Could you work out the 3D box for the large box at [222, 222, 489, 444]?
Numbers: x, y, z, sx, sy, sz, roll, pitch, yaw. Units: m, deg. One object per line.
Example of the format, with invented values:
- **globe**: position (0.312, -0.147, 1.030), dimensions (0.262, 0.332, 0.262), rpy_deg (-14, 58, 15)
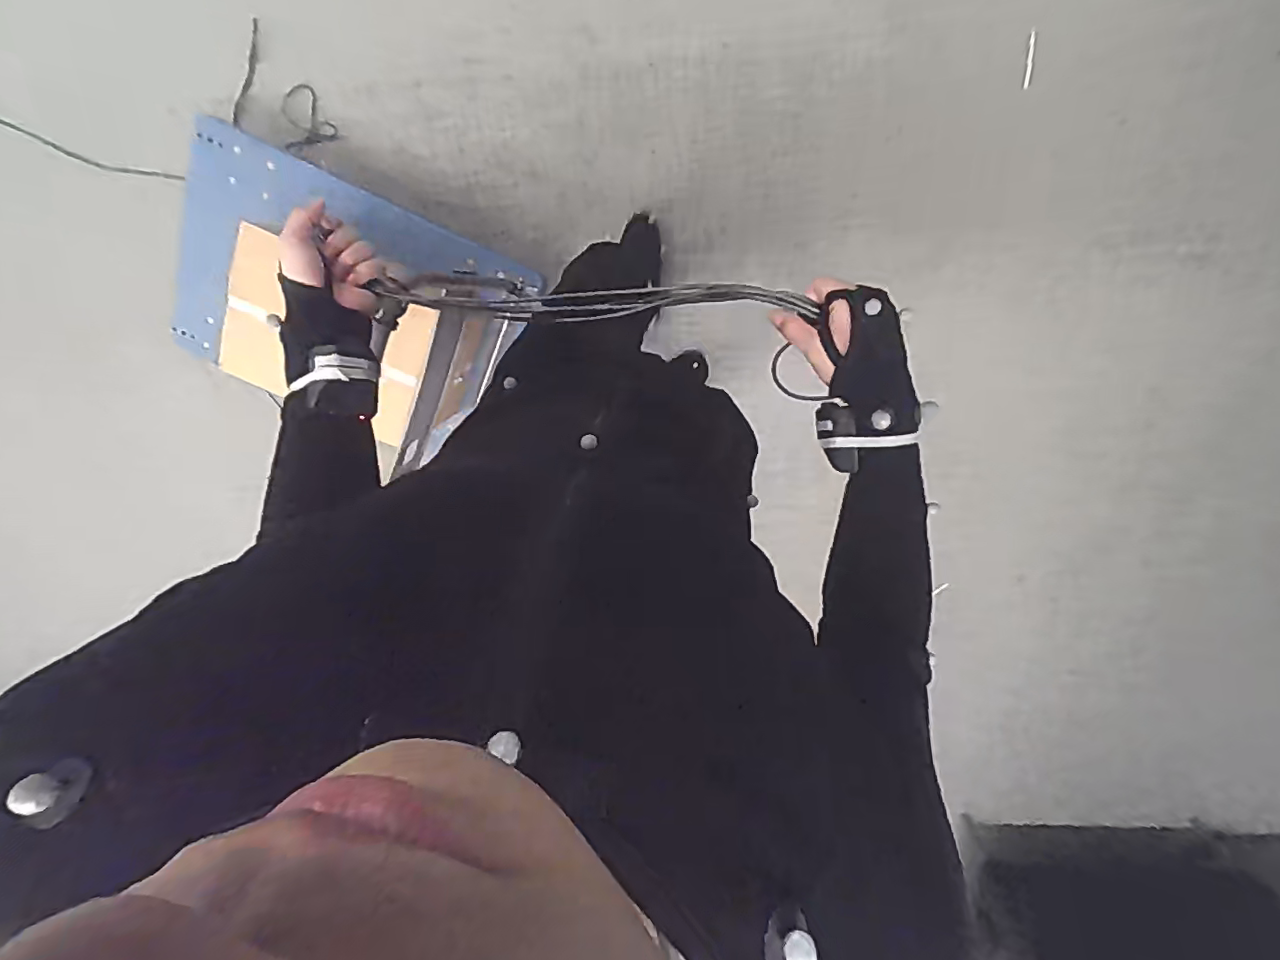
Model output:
- **large box**: position (-0.616, -0.333, 1.225), dimensions (0.408, 0.320, 0.320), rpy_deg (25, 109, -4)
